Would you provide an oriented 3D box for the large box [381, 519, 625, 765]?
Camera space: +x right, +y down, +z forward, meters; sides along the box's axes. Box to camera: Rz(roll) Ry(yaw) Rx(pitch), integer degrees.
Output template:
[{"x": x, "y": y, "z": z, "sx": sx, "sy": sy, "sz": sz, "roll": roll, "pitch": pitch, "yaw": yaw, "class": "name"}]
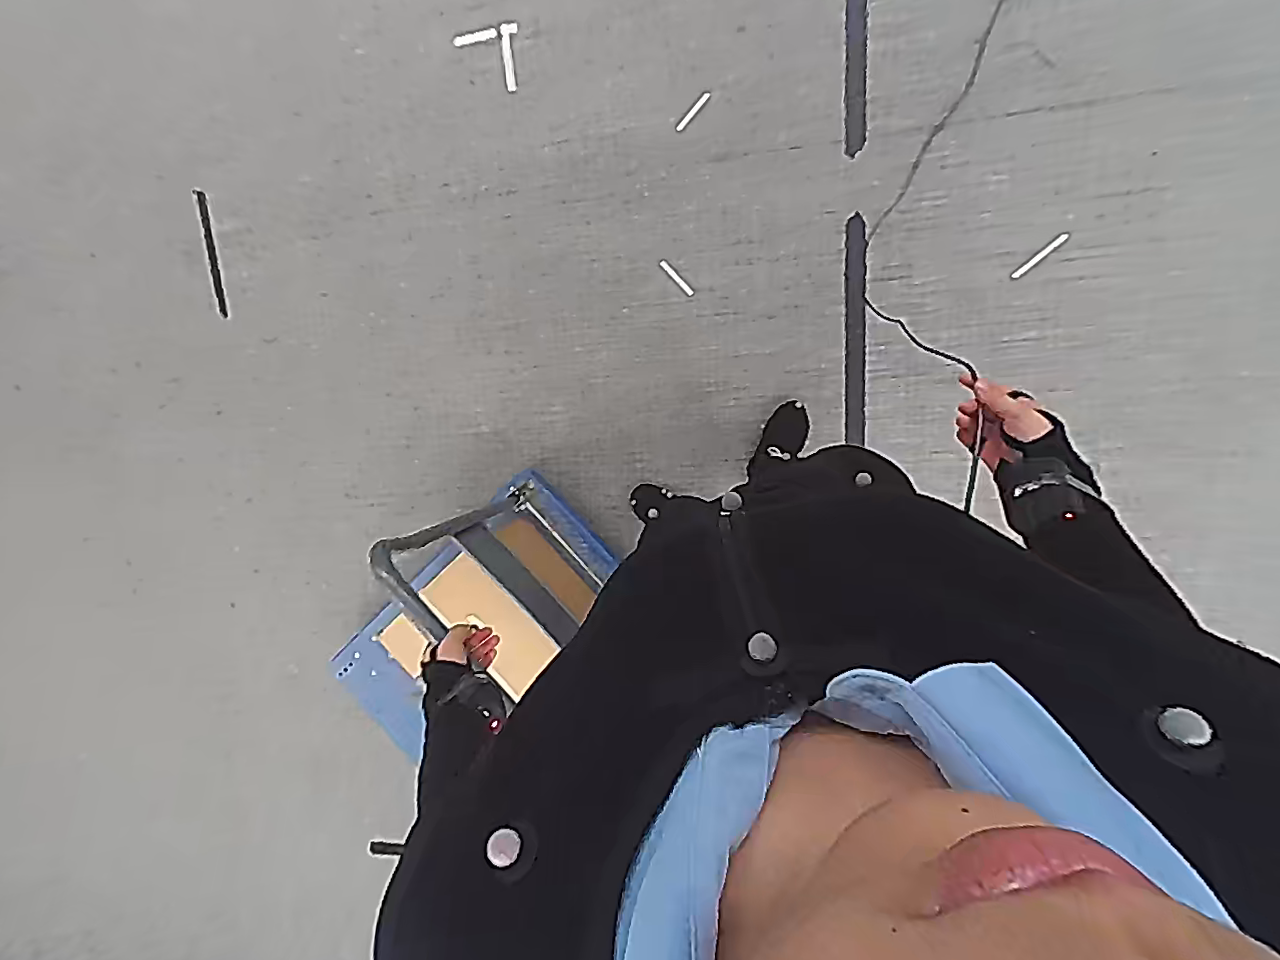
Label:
[{"x": -0.300, "y": 0.362, "z": 1.292, "sx": 0.320, "sy": 0.320, "sz": 0.408, "roll": -43, "pitch": 89, "yaw": 13, "class": "large box"}]
